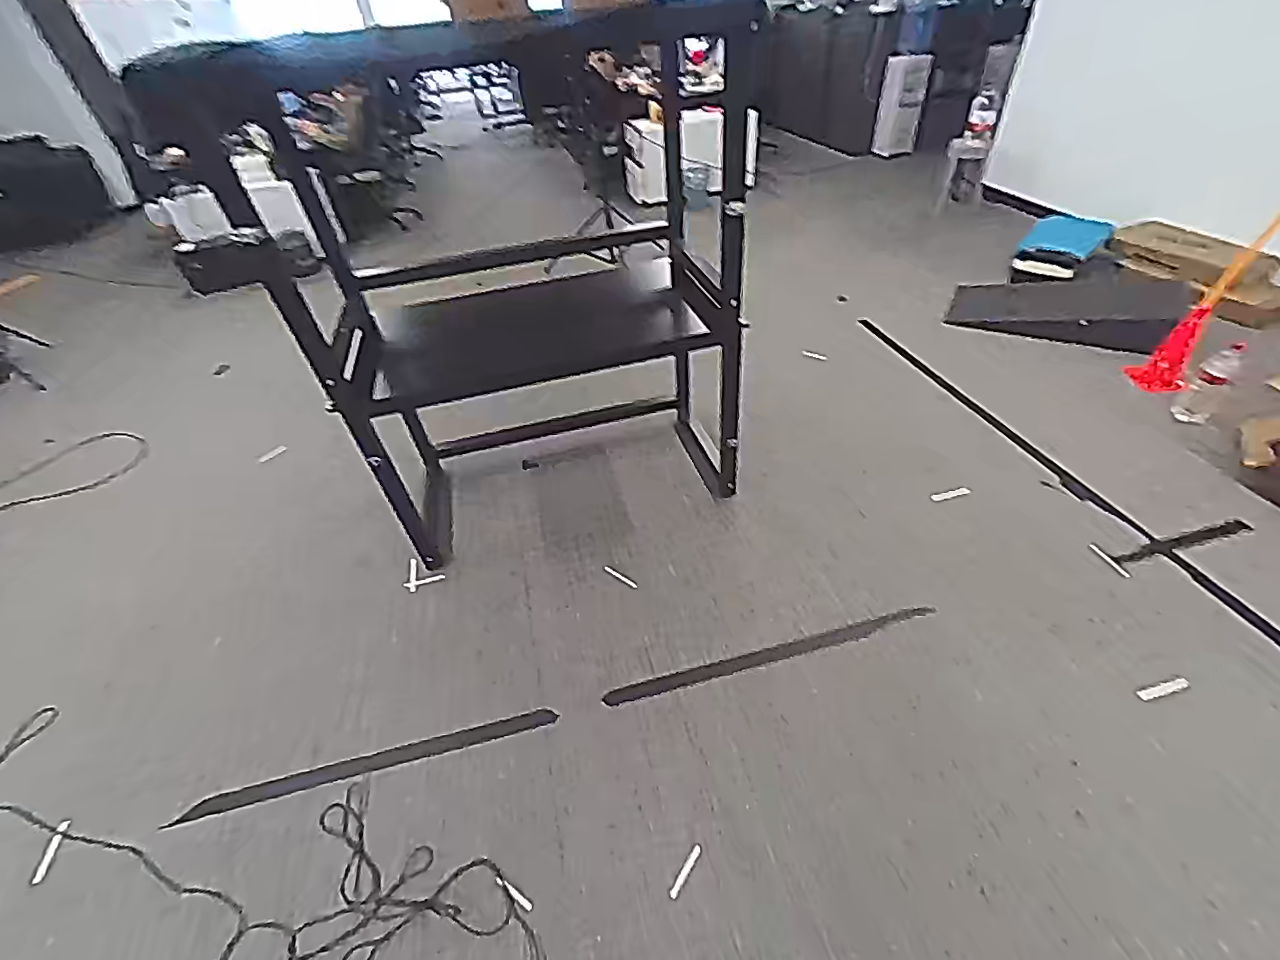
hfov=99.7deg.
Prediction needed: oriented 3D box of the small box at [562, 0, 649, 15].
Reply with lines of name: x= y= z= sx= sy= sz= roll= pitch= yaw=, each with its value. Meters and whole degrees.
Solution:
small box: x=-0.084 y=-1.077 z=1.114 sx=0.168 sy=0.176 sz=0.179 roll=-13 pitch=42 yaw=-6

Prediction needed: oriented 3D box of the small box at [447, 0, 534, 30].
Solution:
small box: x=-0.314 y=-1.027 z=1.090 sx=0.168 sy=0.176 sz=0.179 roll=-11 pitch=42 yaw=-5
